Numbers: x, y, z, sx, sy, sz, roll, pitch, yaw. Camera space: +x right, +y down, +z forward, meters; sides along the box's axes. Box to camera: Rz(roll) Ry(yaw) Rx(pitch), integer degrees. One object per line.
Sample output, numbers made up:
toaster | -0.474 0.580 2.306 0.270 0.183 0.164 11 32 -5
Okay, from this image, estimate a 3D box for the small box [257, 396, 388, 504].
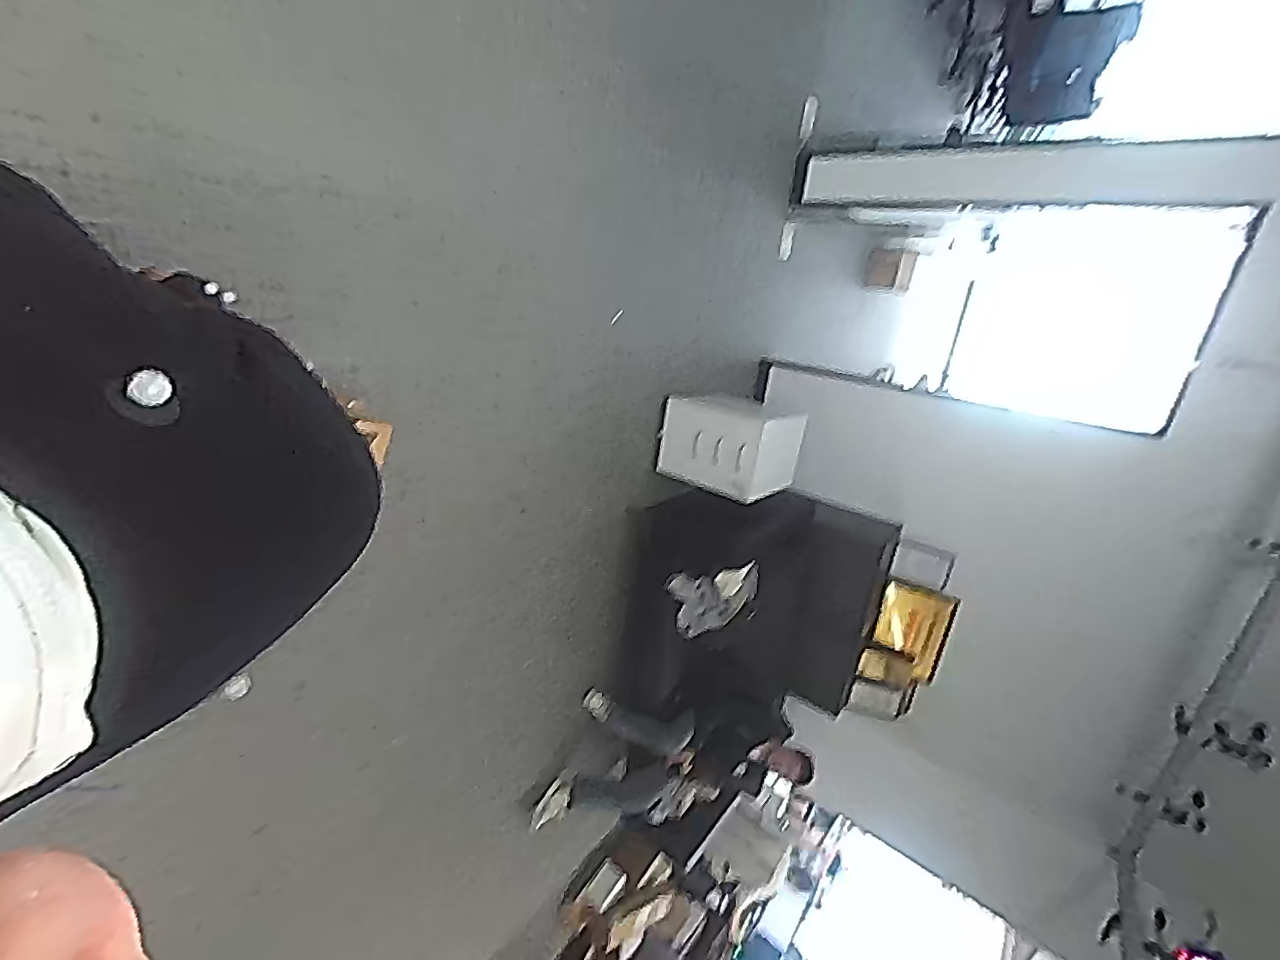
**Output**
small box | -0.682 -0.066 1.156 0.168 0.176 0.179 18 93 -55
